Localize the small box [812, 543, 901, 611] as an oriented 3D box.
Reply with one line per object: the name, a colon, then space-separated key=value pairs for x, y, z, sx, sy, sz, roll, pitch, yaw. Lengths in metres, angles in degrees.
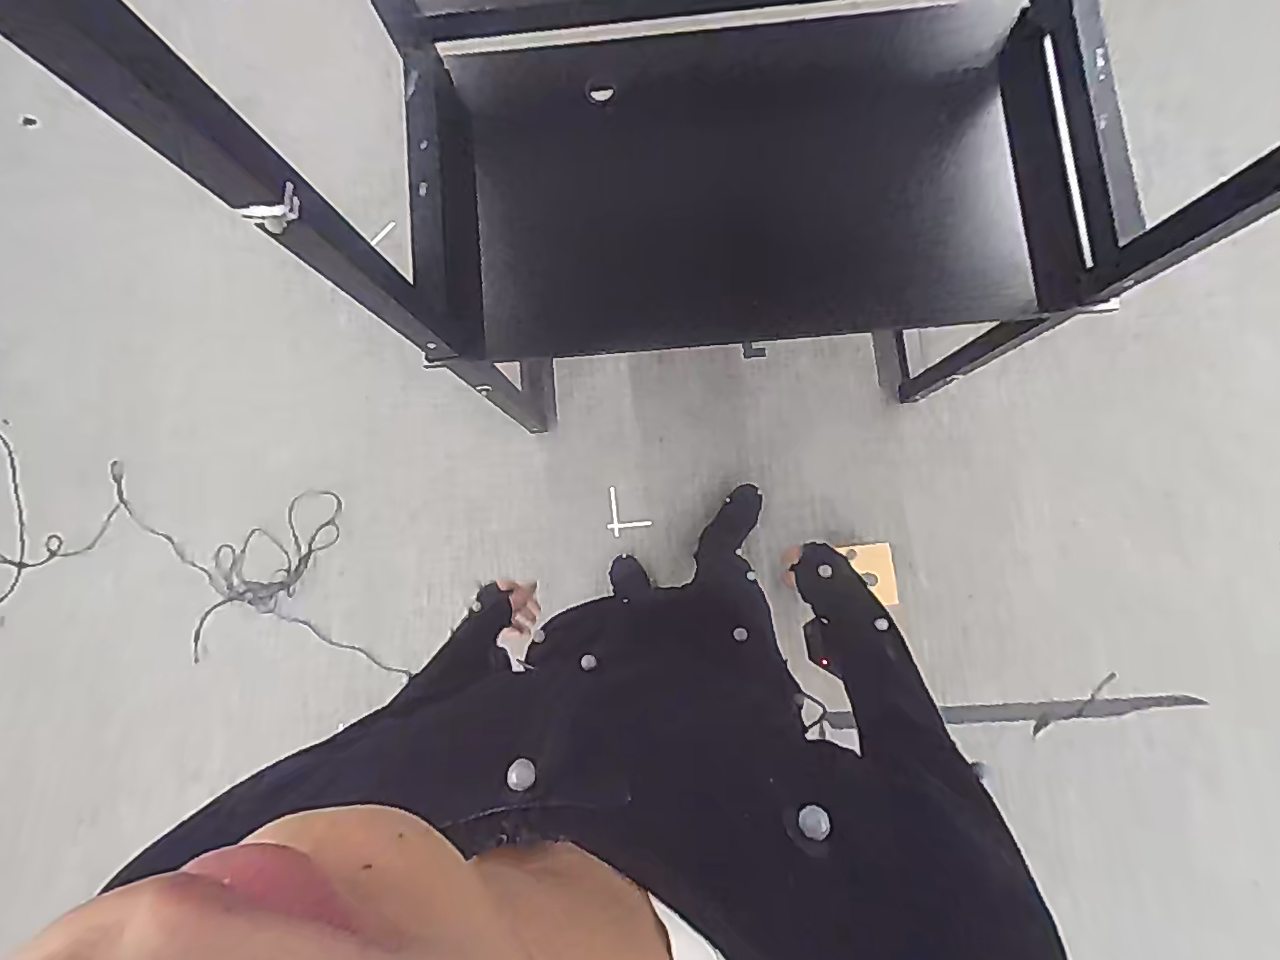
small box: x=0.600 y=0.266 z=1.513 sx=0.179 sy=0.176 sz=0.168 roll=-7 pitch=84 yaw=3
